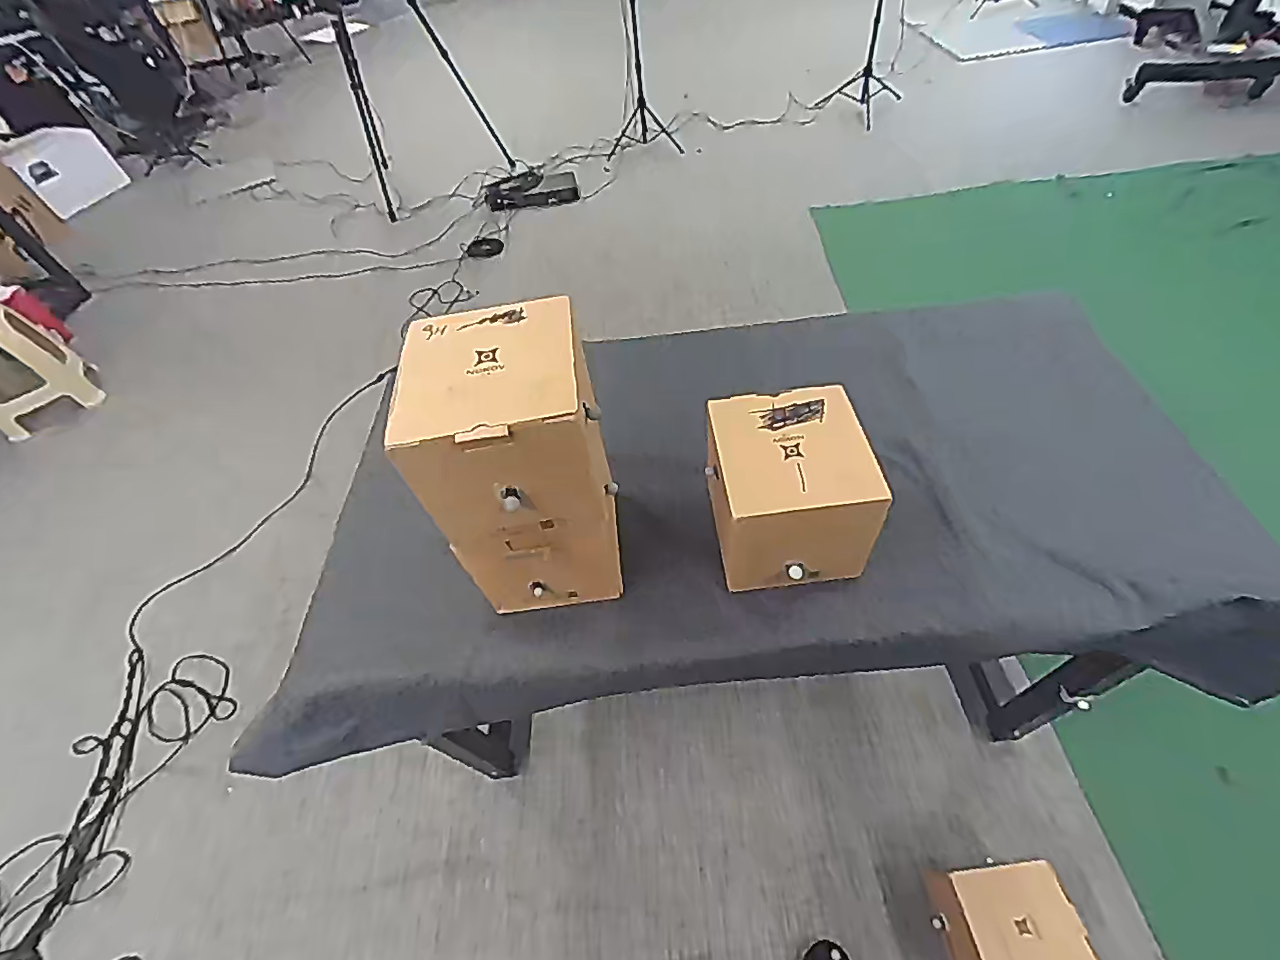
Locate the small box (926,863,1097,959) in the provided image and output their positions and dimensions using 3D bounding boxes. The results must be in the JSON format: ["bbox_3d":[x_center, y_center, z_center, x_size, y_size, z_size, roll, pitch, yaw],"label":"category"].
[{"bbox_3d":[0.634,0.776,0.937,0.179,0.176,0.168,-9,51,2],"label":"small box"}]

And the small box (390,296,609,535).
[{"bbox_3d":[-0.129,-0.057,0.559,0.168,0.176,0.179,-9,52,0],"label":"small box"}]

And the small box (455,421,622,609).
[{"bbox_3d":[-0.118,0.042,0.689,0.168,0.176,0.179,-8,52,1],"label":"small box"}]

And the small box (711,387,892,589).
[{"bbox_3d":[0.179,0.013,0.667,0.168,0.176,0.179,-7,51,3],"label":"small box"}]
